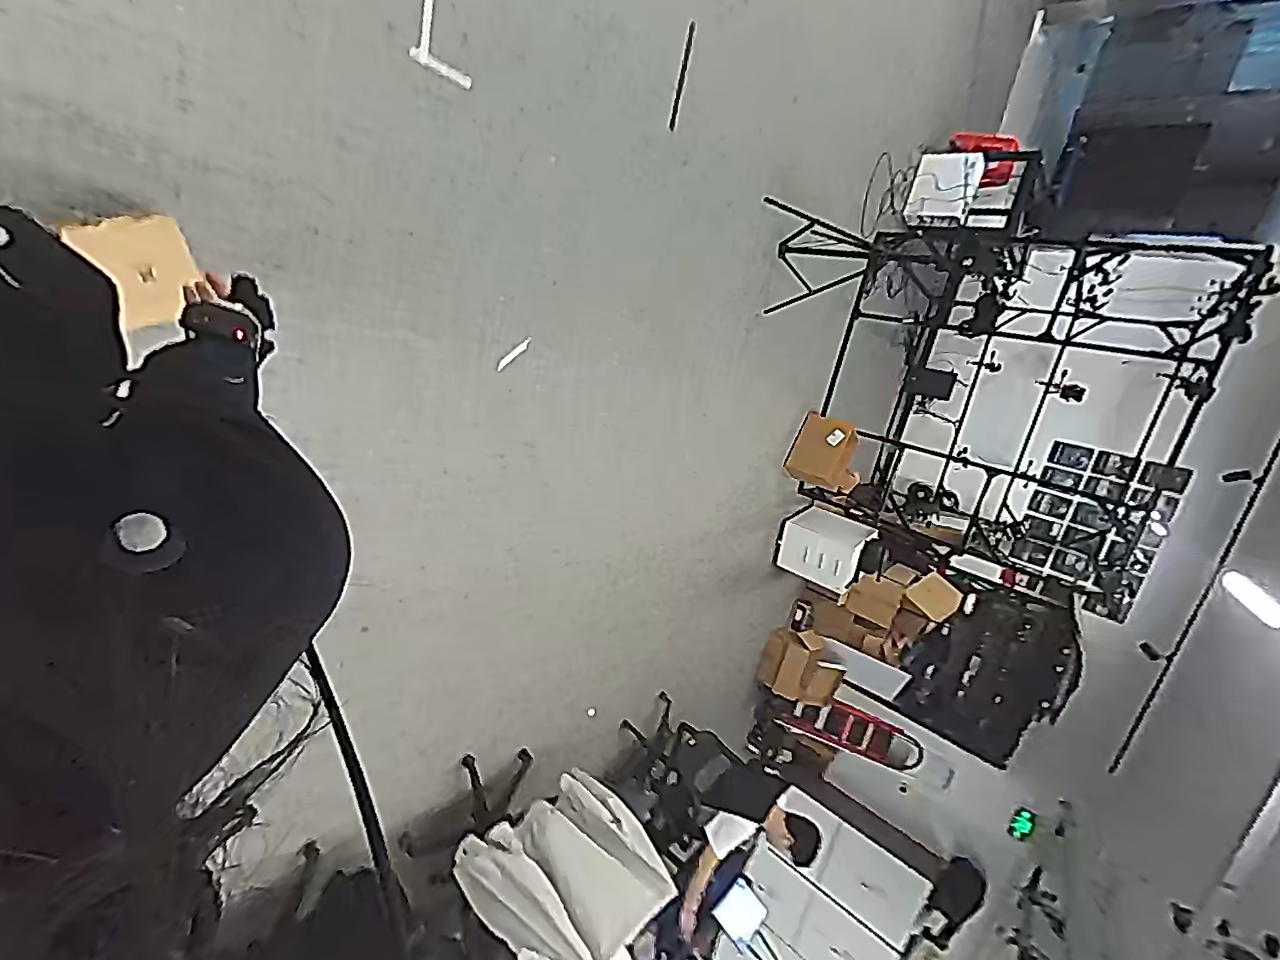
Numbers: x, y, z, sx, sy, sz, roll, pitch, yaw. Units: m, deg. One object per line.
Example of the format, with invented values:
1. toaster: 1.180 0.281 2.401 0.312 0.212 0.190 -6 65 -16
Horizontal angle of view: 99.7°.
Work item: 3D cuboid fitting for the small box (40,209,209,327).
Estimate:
1. small box: -0.971 -0.408 1.021 0.168 0.176 0.179 -34 134 -36
